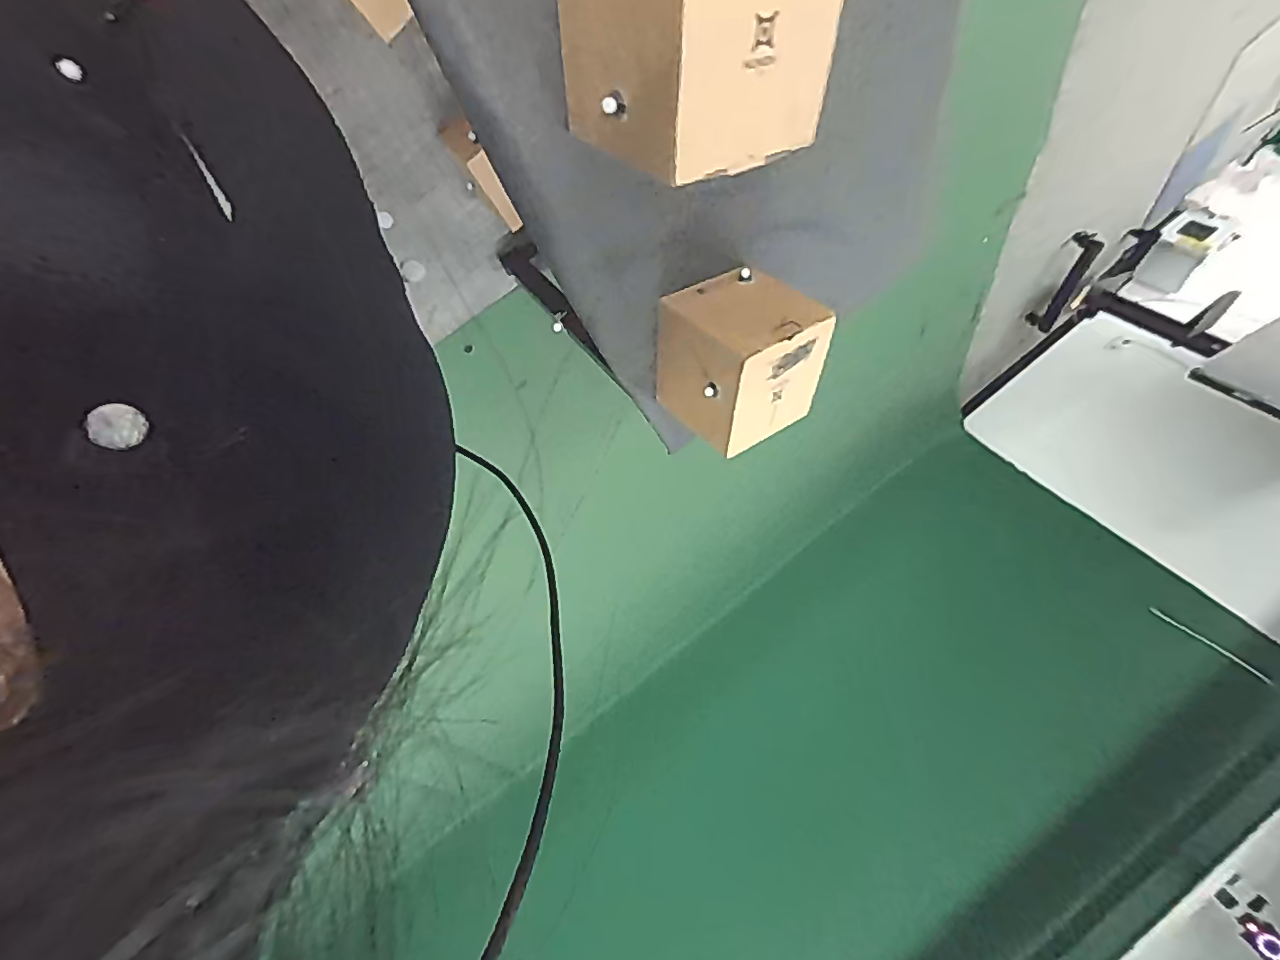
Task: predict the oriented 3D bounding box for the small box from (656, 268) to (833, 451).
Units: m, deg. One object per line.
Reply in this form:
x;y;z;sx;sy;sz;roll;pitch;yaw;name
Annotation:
0.135;-0.179;0.766;0.168;0.176;0.179;-28;144;-22;small box

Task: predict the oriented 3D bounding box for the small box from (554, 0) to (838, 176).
0.040;-0.383;0.441;0.168;0.176;0.179;-30;144;-22;small box

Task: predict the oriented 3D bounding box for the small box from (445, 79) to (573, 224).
-0.276;-0.677;1.116;0.179;0.176;0.168;-41;147;1;small box
